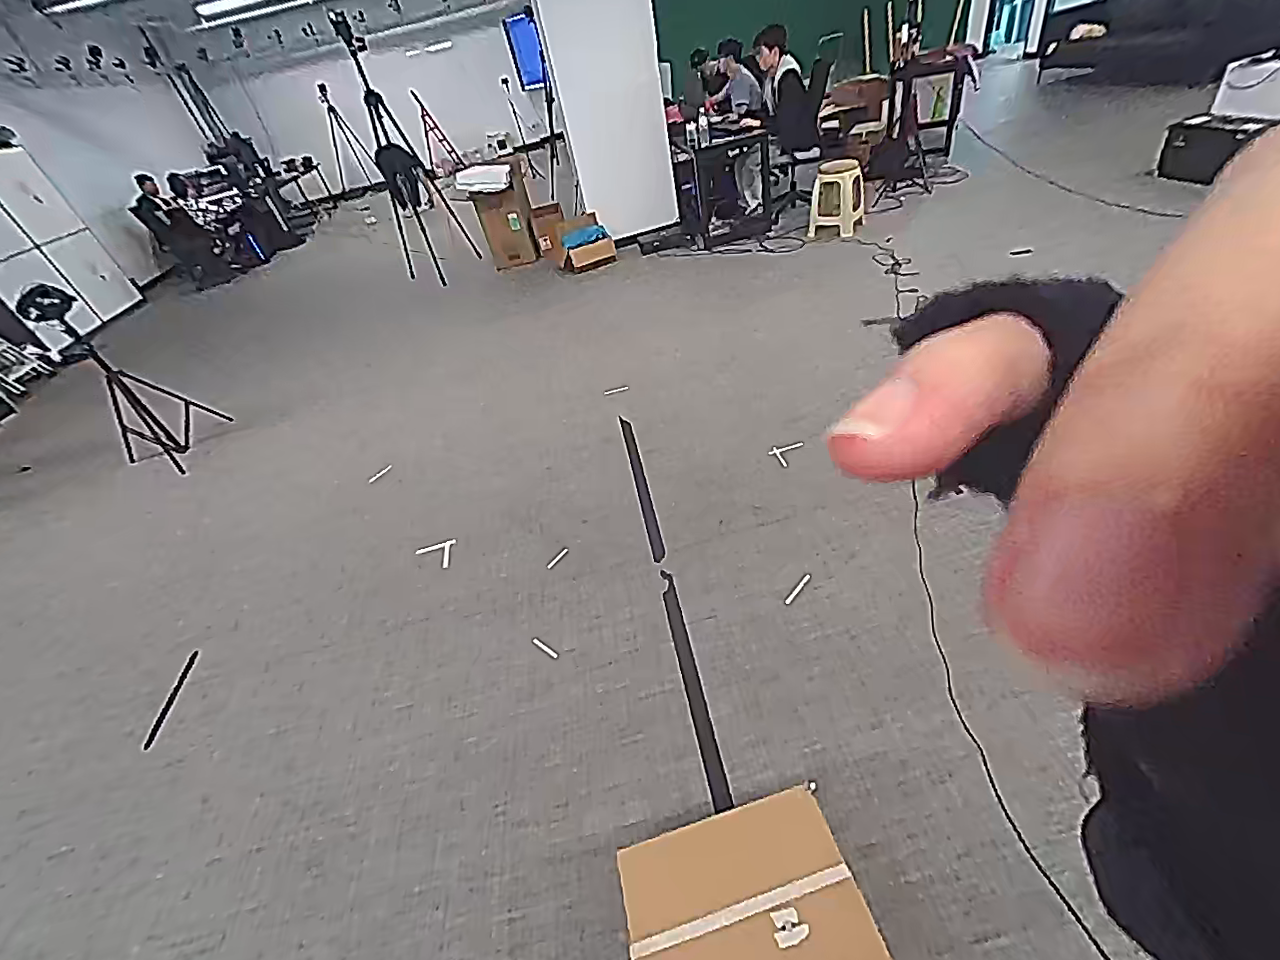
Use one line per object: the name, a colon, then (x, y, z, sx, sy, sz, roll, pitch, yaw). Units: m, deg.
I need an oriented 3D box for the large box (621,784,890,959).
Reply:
large box: (0.213, 0.877, 1.053, 0.408, 0.320, 0.320, -18, 39, -4)
